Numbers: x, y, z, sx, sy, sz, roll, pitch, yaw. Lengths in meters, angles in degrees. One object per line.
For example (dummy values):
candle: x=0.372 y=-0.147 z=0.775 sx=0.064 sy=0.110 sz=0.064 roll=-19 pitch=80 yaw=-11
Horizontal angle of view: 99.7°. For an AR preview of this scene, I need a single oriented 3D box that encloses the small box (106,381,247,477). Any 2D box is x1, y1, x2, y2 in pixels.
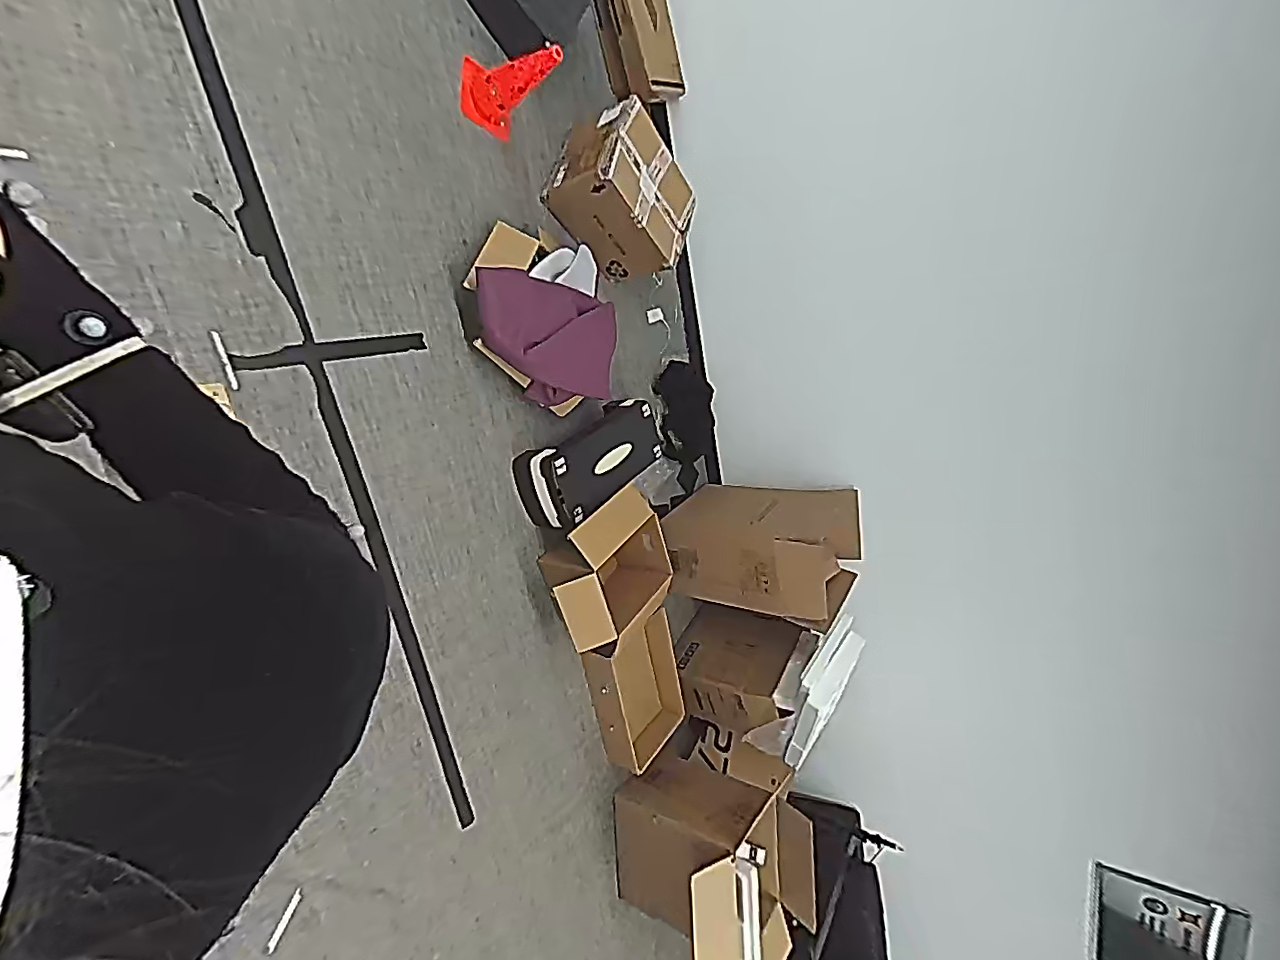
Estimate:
small box: x=-0.981 y=-0.106 z=1.140 sx=0.179 sy=0.176 sz=0.168 roll=-28 pitch=113 yaw=-48
